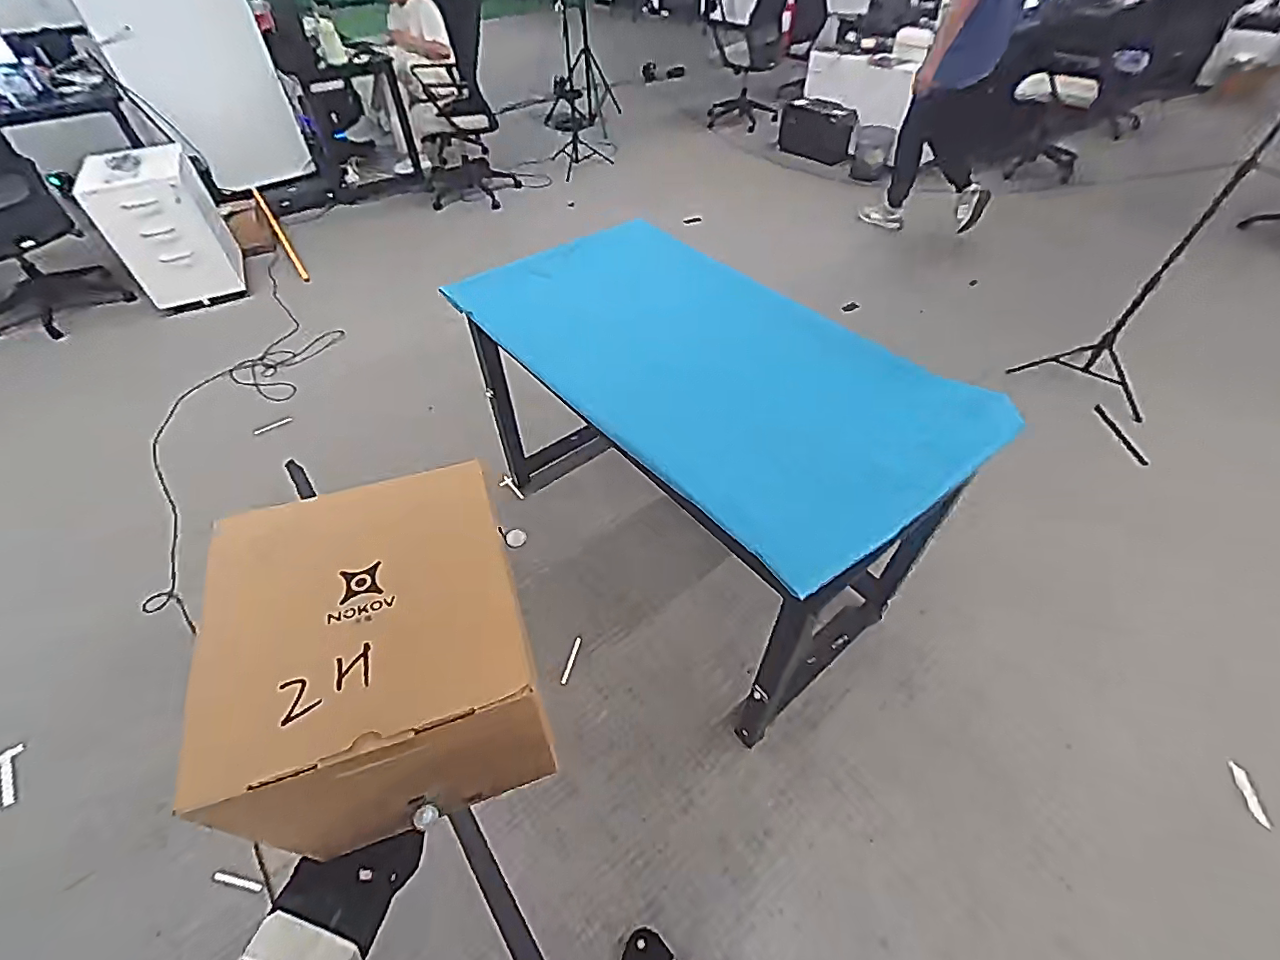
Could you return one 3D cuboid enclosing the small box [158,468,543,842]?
[{"bbox_3d":[-0.168,0.121,0.375,0.168,0.176,0.179,-12,53,-11],"label":"small box"}]
